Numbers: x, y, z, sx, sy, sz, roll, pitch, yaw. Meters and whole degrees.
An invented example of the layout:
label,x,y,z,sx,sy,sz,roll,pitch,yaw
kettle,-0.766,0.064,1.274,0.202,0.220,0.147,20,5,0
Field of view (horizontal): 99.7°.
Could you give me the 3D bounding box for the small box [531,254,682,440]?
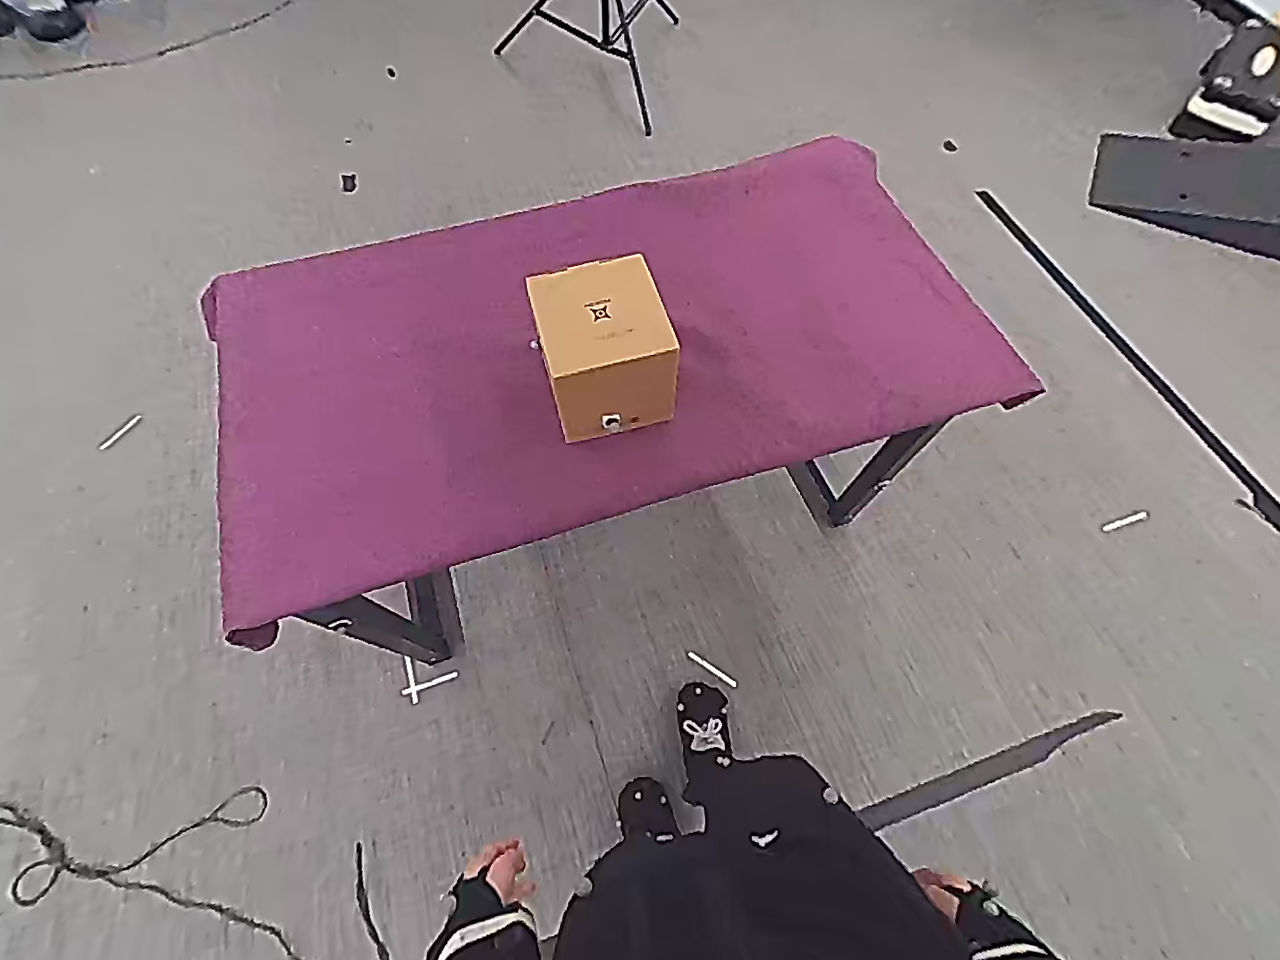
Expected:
label,x,y,z,sx,sy,sz,roll,pitch,yaw
small box,-0.048,-0.184,0.771,0.168,0.176,0.179,-15,66,-7
